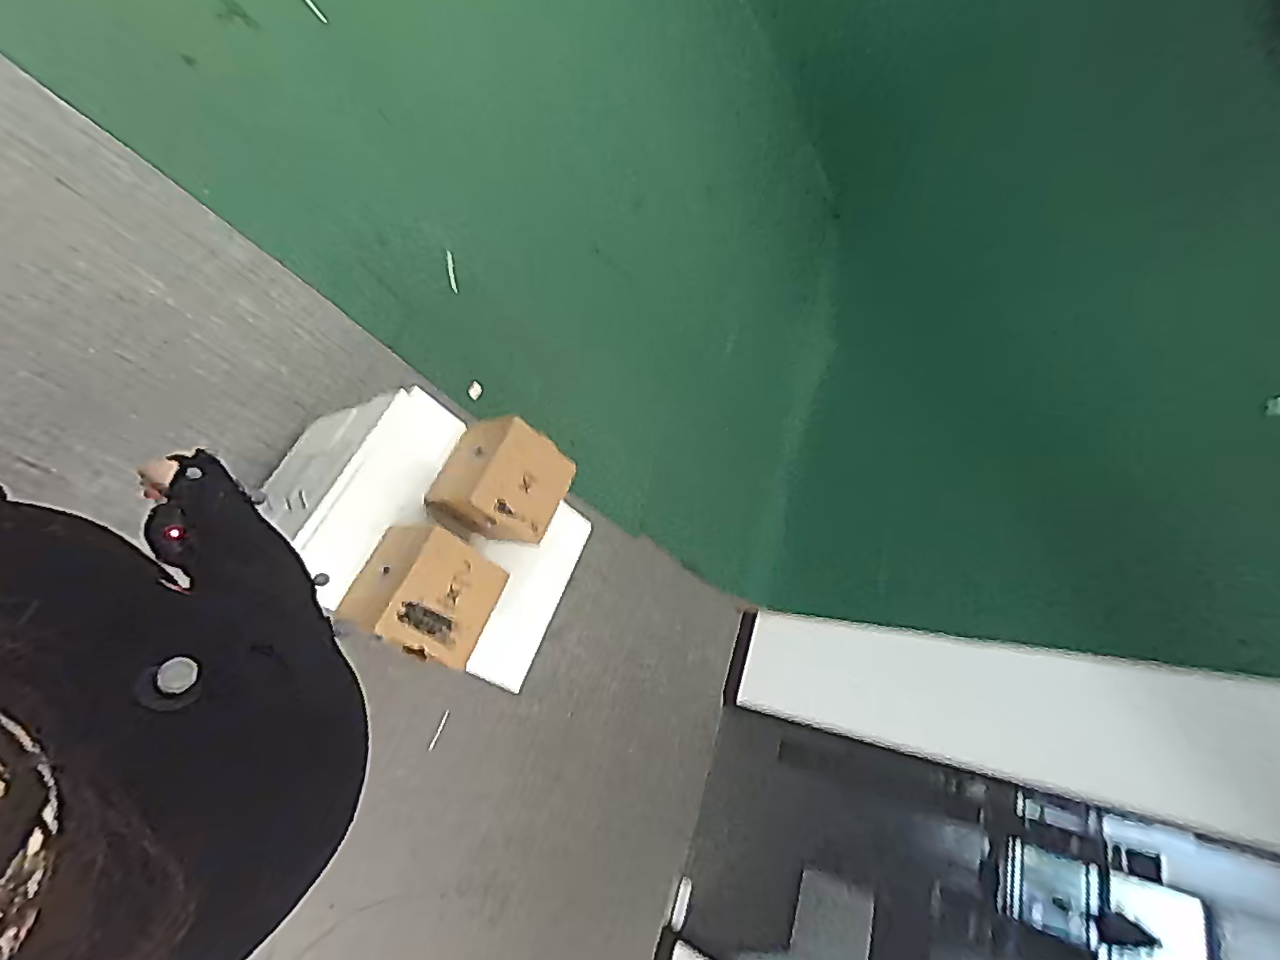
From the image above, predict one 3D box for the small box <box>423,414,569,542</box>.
[{"bbox_3d":[-0.270,0.000,1.009,0.168,0.176,0.179,43,58,-38],"label":"small box"}]
